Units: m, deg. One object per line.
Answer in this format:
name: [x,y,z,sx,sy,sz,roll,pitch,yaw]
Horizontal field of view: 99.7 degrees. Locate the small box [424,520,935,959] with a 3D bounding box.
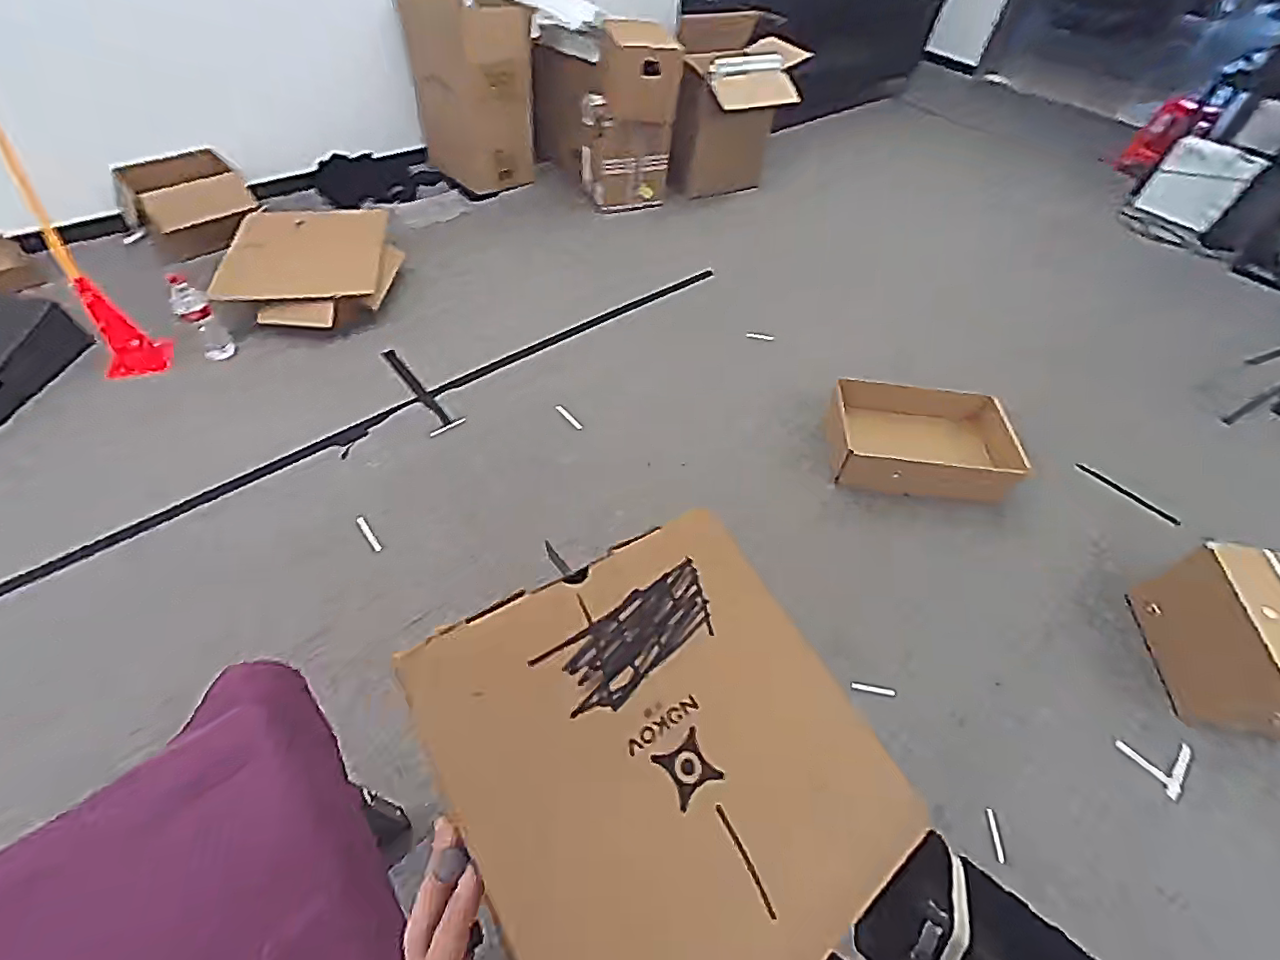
small box: [-0.002,0.155,0.289,0.168,0.176,0.179,-23,69,-29]
